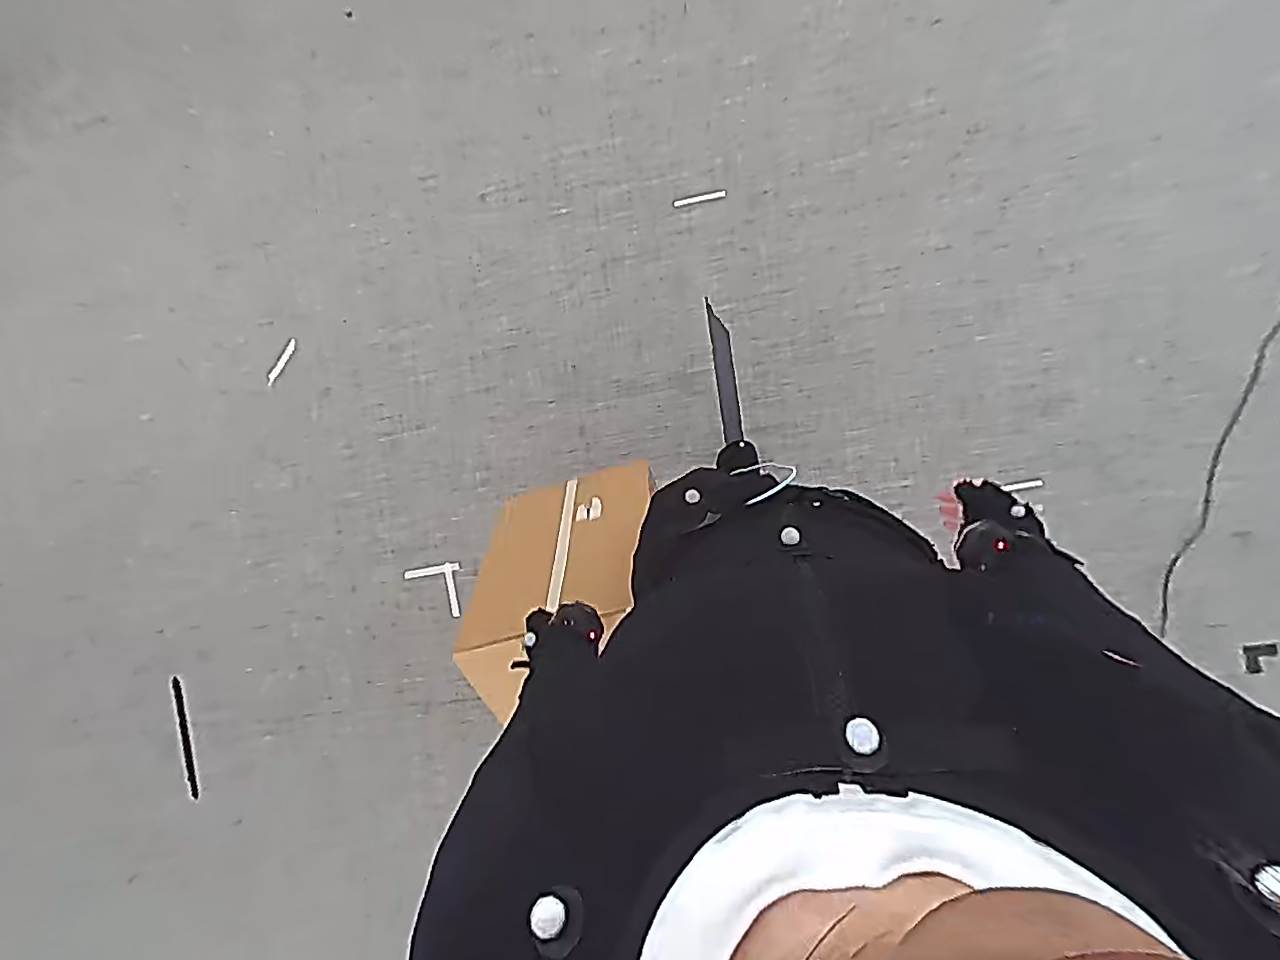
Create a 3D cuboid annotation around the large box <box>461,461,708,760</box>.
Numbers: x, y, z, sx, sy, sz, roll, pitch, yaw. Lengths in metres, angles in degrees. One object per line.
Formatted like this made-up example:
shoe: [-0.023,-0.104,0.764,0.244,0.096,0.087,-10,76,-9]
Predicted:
large box: [-0.080,0.225,1.008,0.320,0.408,0.320,-15,120,8]
